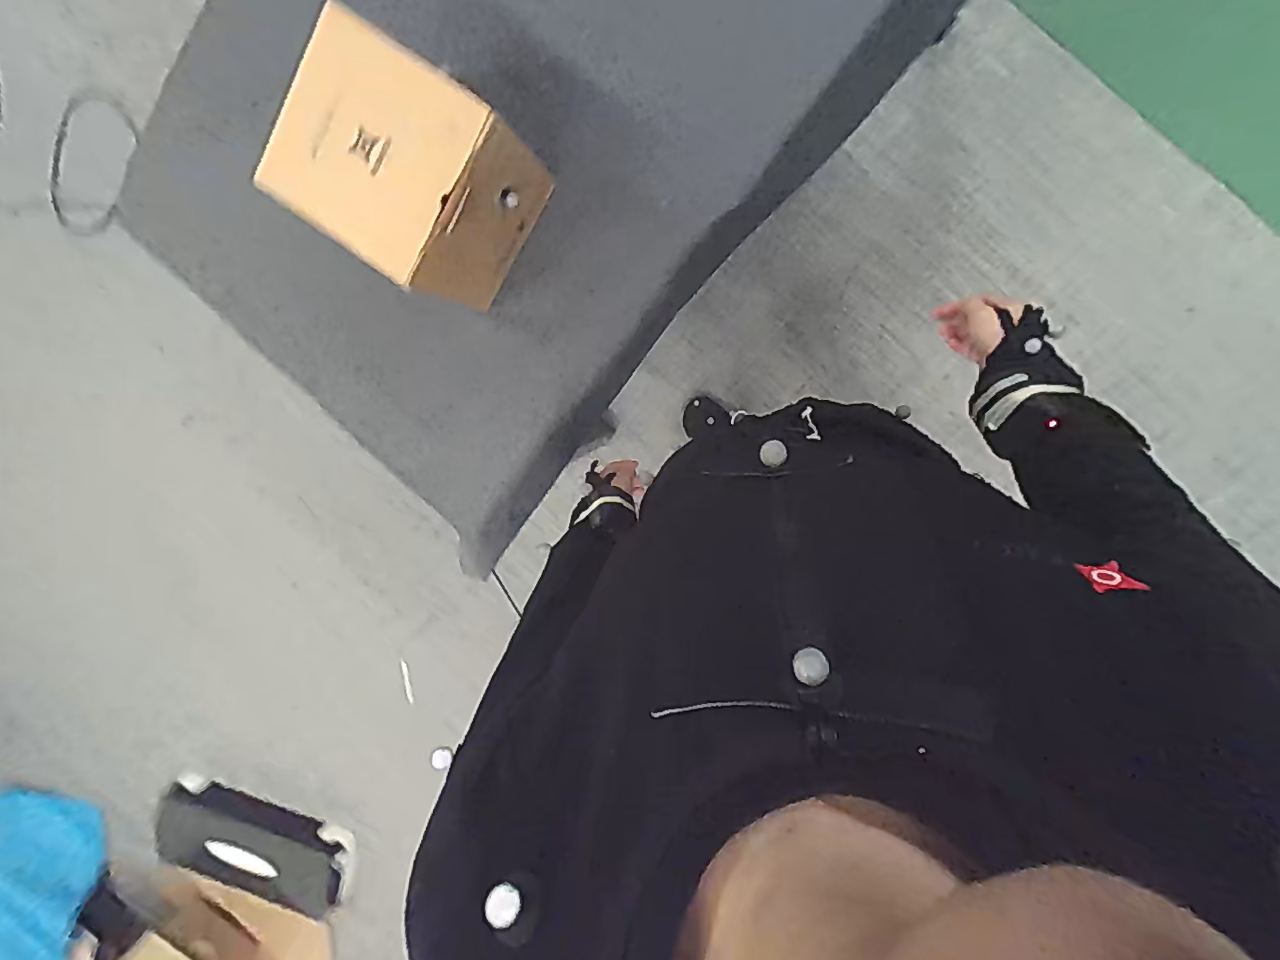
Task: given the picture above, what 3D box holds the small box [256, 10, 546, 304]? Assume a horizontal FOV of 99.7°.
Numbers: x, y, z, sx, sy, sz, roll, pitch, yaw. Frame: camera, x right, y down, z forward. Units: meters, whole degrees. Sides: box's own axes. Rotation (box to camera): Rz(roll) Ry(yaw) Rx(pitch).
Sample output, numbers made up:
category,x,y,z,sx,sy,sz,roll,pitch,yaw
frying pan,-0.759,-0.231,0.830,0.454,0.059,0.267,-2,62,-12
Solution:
category,x,y,z,sx,sy,sz,roll,pitch,yaw
small box,-0.222,-0.298,0.547,0.179,0.176,0.168,34,102,3
